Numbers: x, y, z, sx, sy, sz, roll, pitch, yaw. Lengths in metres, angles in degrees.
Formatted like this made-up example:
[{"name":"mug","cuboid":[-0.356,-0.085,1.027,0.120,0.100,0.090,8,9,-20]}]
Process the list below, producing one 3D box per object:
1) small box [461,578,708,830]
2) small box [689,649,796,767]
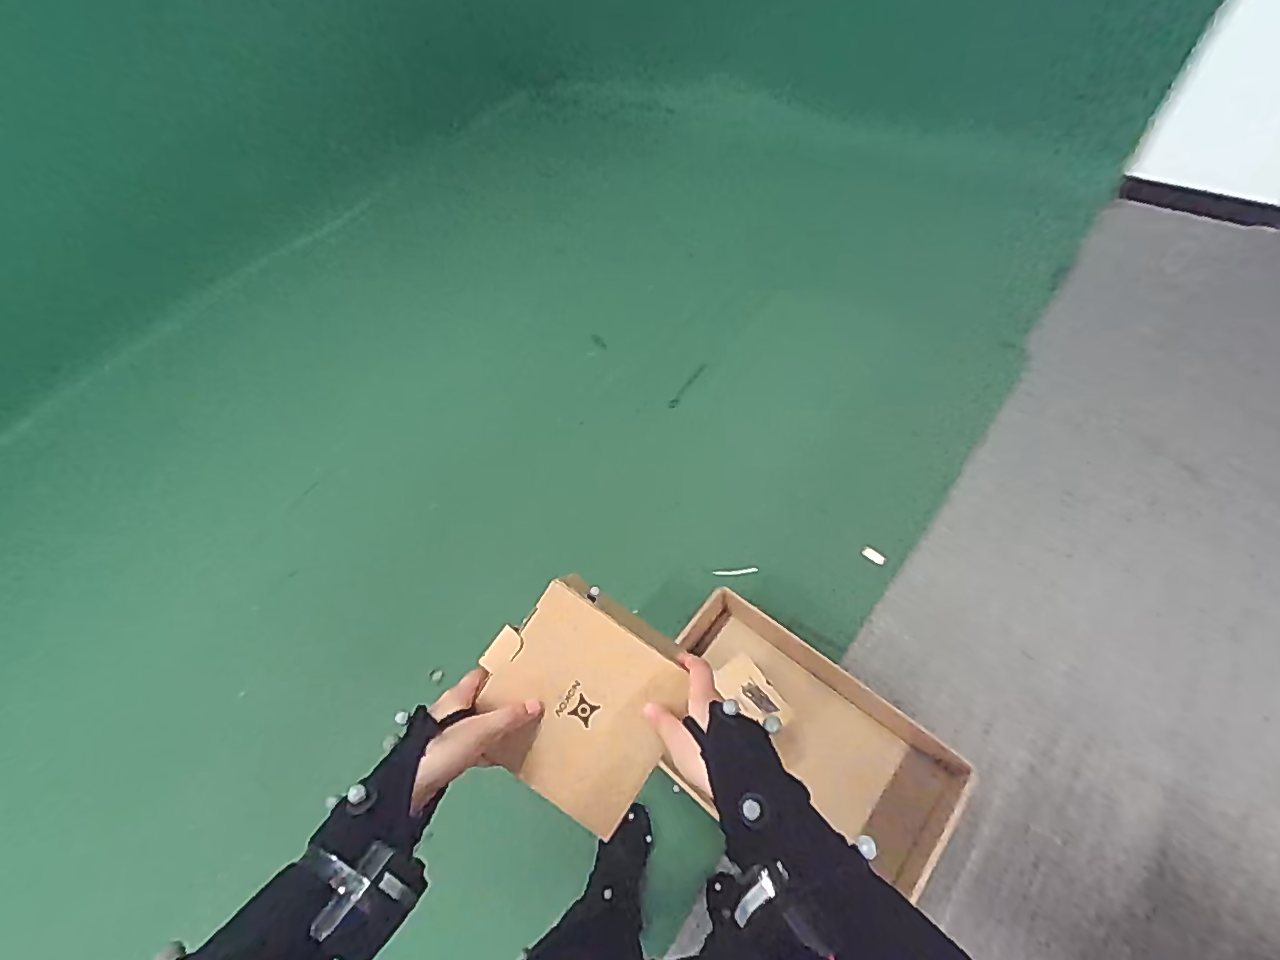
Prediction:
[{"name":"small box","cuboid":[-0.052,0.215,0.581,0.179,0.176,0.168,32,82,3]},{"name":"small box","cuboid":[0.216,0.509,1.200,0.179,0.176,0.168,-33,60,-12]}]
